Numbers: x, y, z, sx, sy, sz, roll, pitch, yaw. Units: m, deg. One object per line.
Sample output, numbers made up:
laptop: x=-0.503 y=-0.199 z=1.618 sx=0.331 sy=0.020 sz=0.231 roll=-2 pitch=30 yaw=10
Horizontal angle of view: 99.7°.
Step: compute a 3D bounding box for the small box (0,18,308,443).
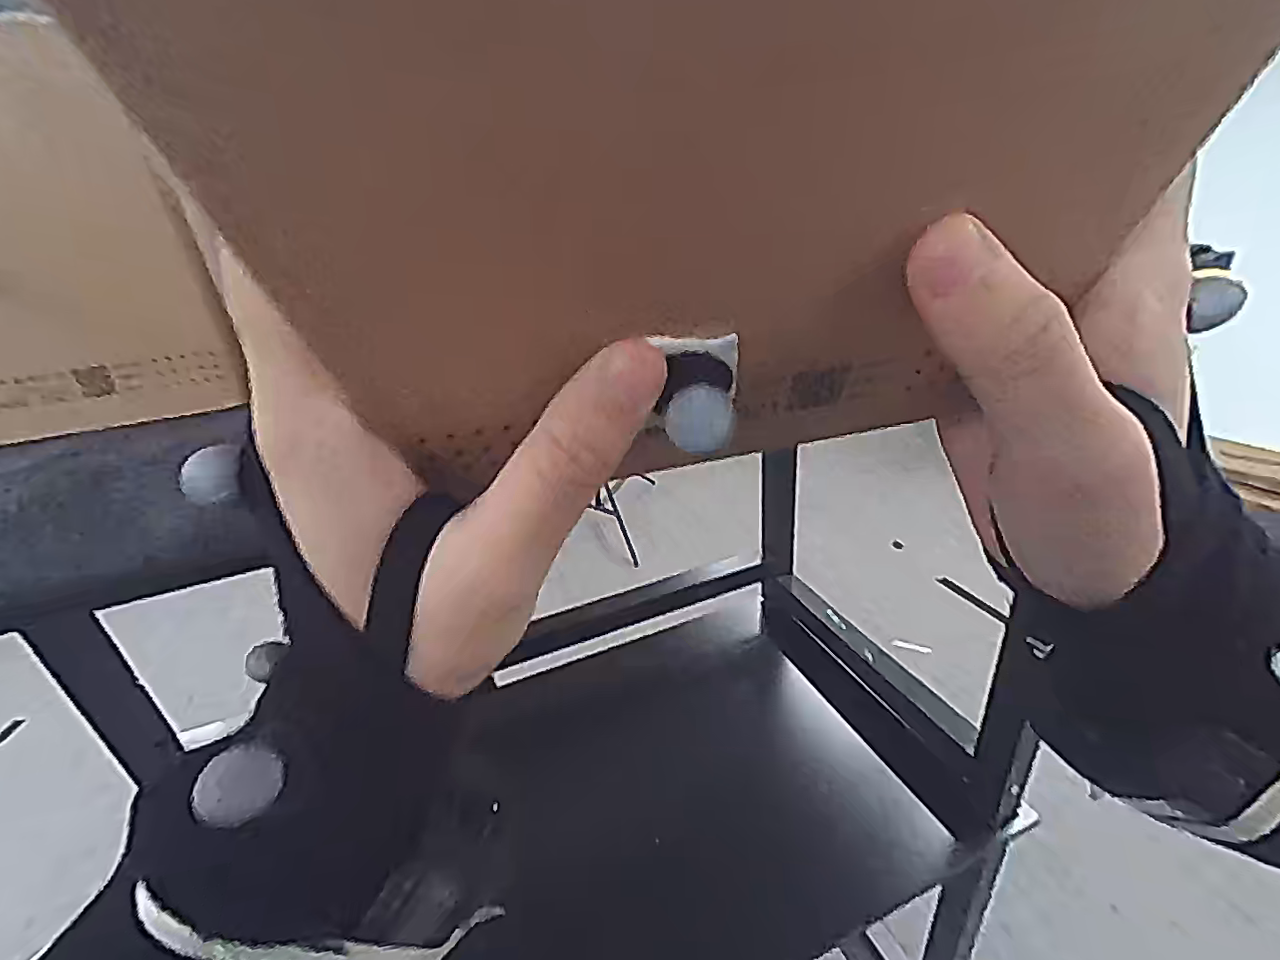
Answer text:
small box: x=-0.316 y=-0.123 z=0.305 sx=0.168 sy=0.176 sz=0.179 roll=-13 pitch=25 yaw=-15
